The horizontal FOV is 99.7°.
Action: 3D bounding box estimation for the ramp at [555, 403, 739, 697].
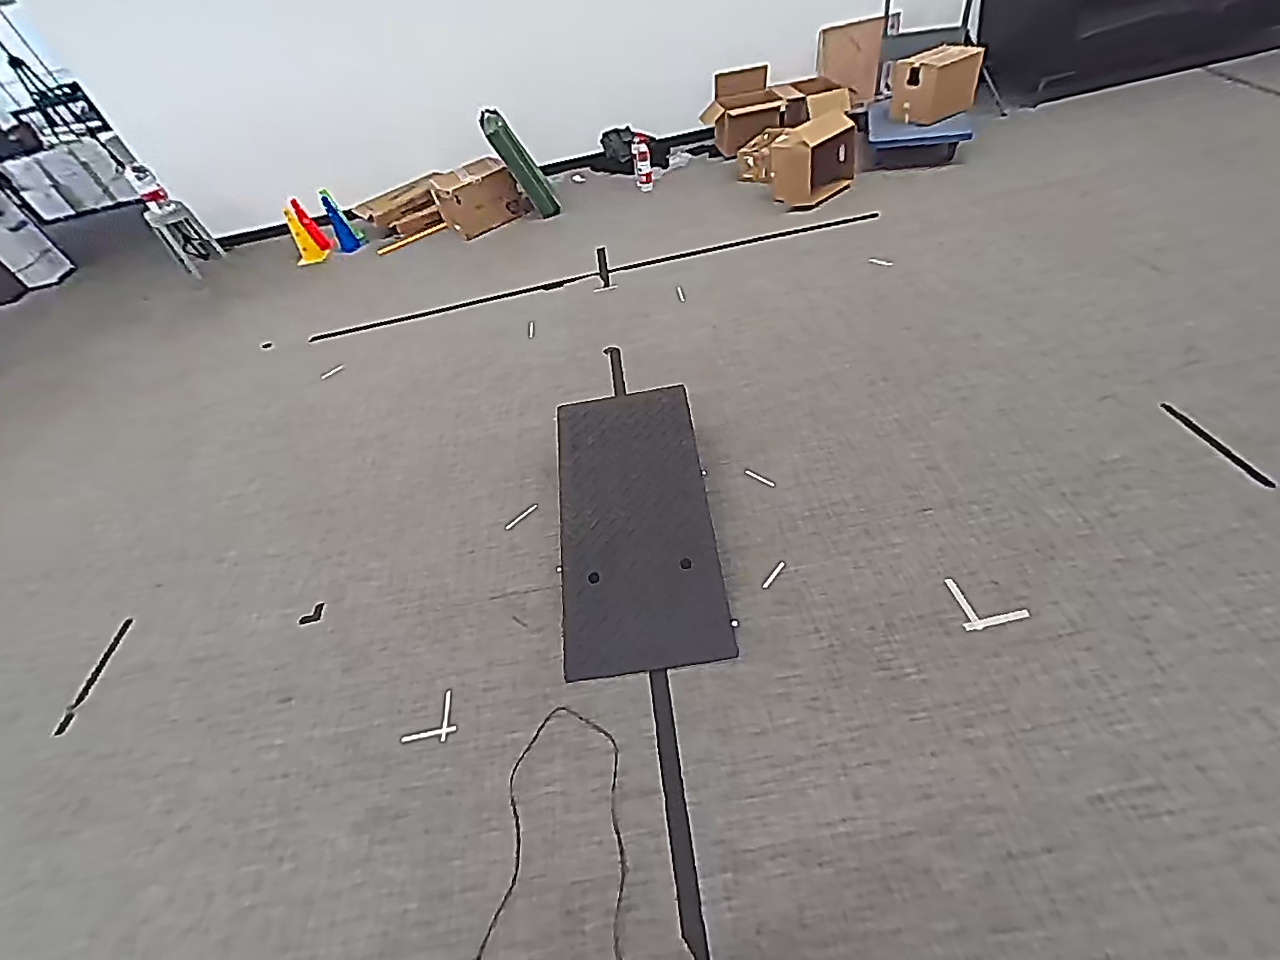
[{"bbox_3d":[-0.022,0.160,1.781,0.509,0.206,0.991,-11,46,1],"label":"ramp"}]
